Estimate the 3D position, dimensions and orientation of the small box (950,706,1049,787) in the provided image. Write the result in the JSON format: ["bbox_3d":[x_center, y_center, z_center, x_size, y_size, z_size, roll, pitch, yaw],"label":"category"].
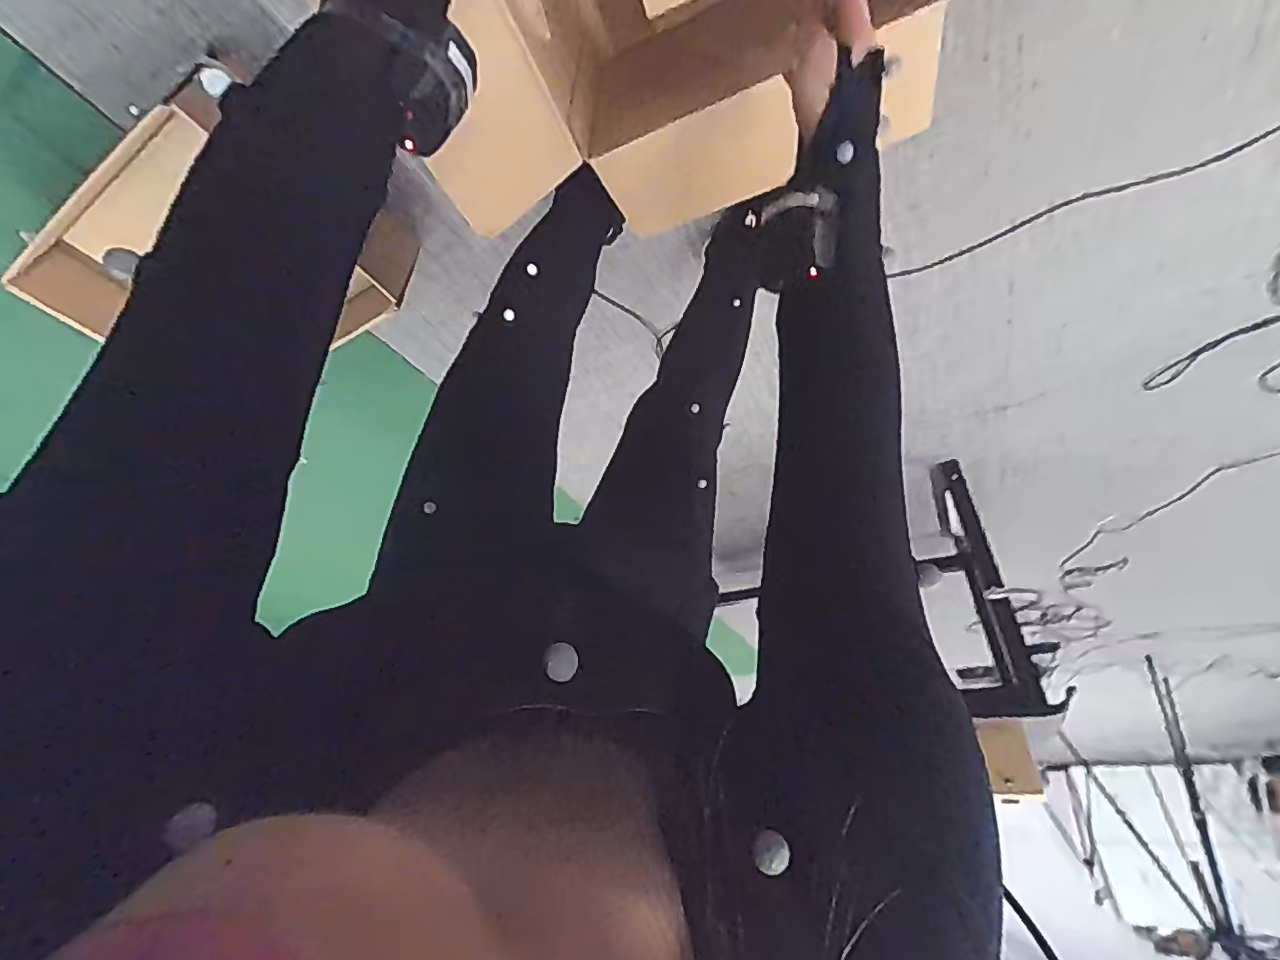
[{"bbox_3d":[0.900,0.669,1.357,0.168,0.176,0.179,-19,142,28],"label":"small box"}]

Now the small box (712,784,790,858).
[{"bbox_3d":[0.315,0.980,1.554,0.179,0.176,0.168,-17,144,24],"label":"small box"}]
